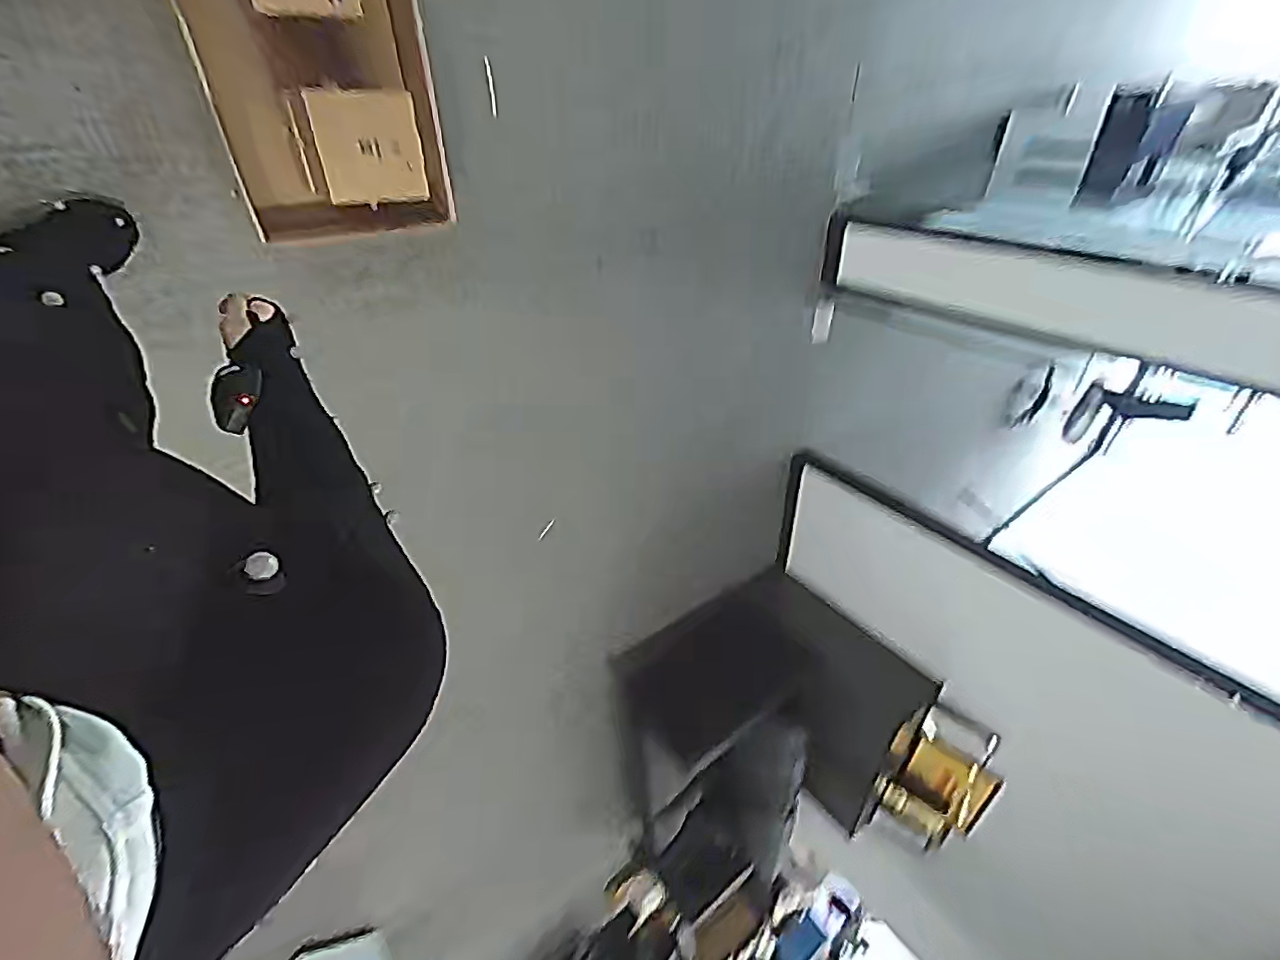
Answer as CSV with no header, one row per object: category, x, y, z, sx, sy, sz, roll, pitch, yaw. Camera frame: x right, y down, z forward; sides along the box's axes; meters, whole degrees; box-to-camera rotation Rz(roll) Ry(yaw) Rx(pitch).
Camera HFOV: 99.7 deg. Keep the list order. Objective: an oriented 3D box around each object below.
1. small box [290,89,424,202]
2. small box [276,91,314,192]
small box,-0.527,-0.618,1.006,0.179,0.176,0.168,-21,130,-30
small box,-0.626,-0.693,1.115,0.179,0.176,0.168,-21,129,-30
